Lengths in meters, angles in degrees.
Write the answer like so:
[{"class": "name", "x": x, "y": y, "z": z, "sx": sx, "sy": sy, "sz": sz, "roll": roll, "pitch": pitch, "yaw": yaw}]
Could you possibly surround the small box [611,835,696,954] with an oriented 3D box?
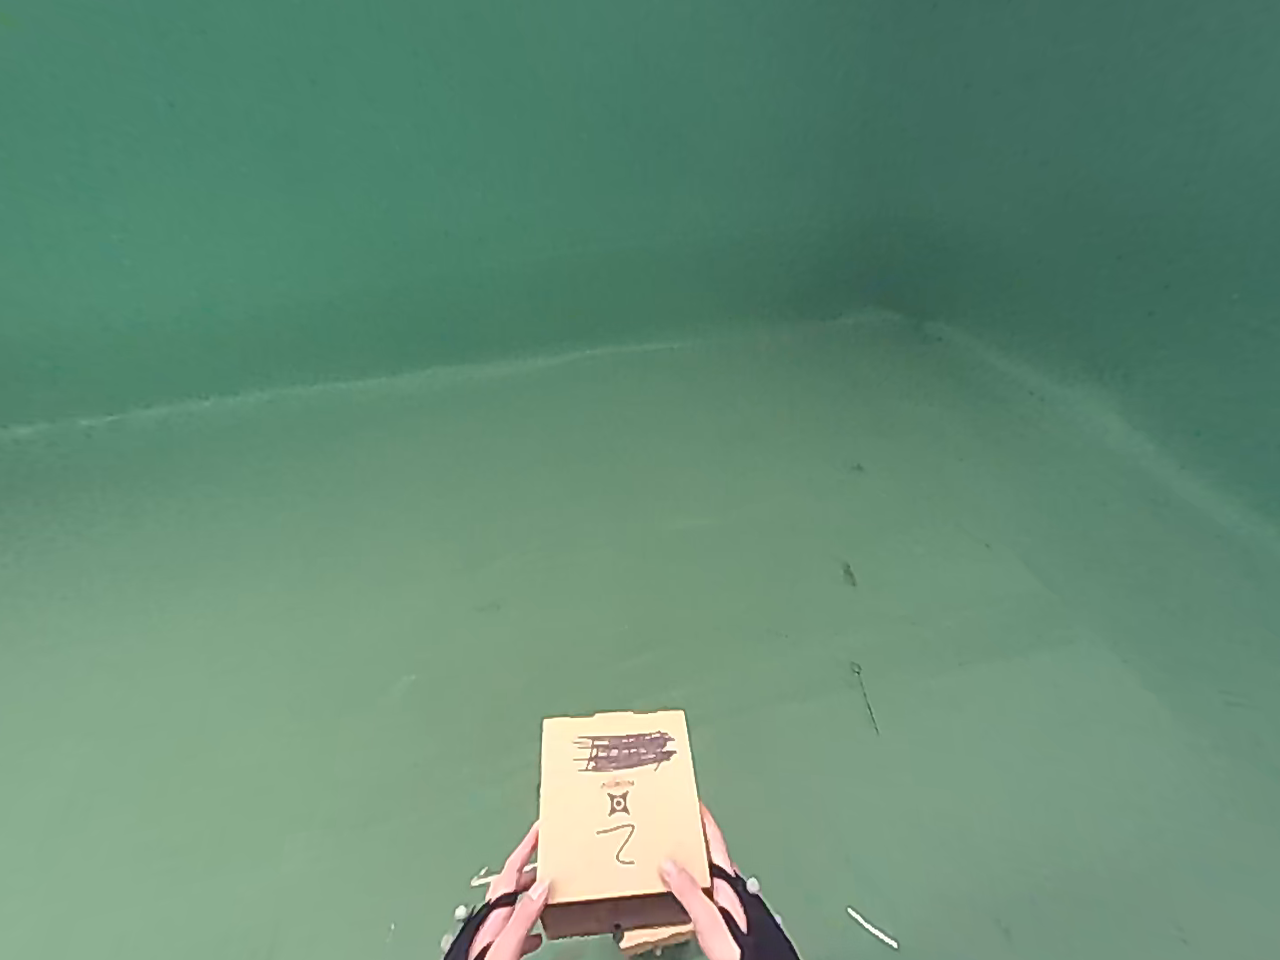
[{"class": "small box", "x": 0.025, "y": 0.962, "z": 1.255, "sx": 0.168, "sy": 0.176, "sz": 0.179, "roll": -8, "pitch": 45, "yaw": -7}]
